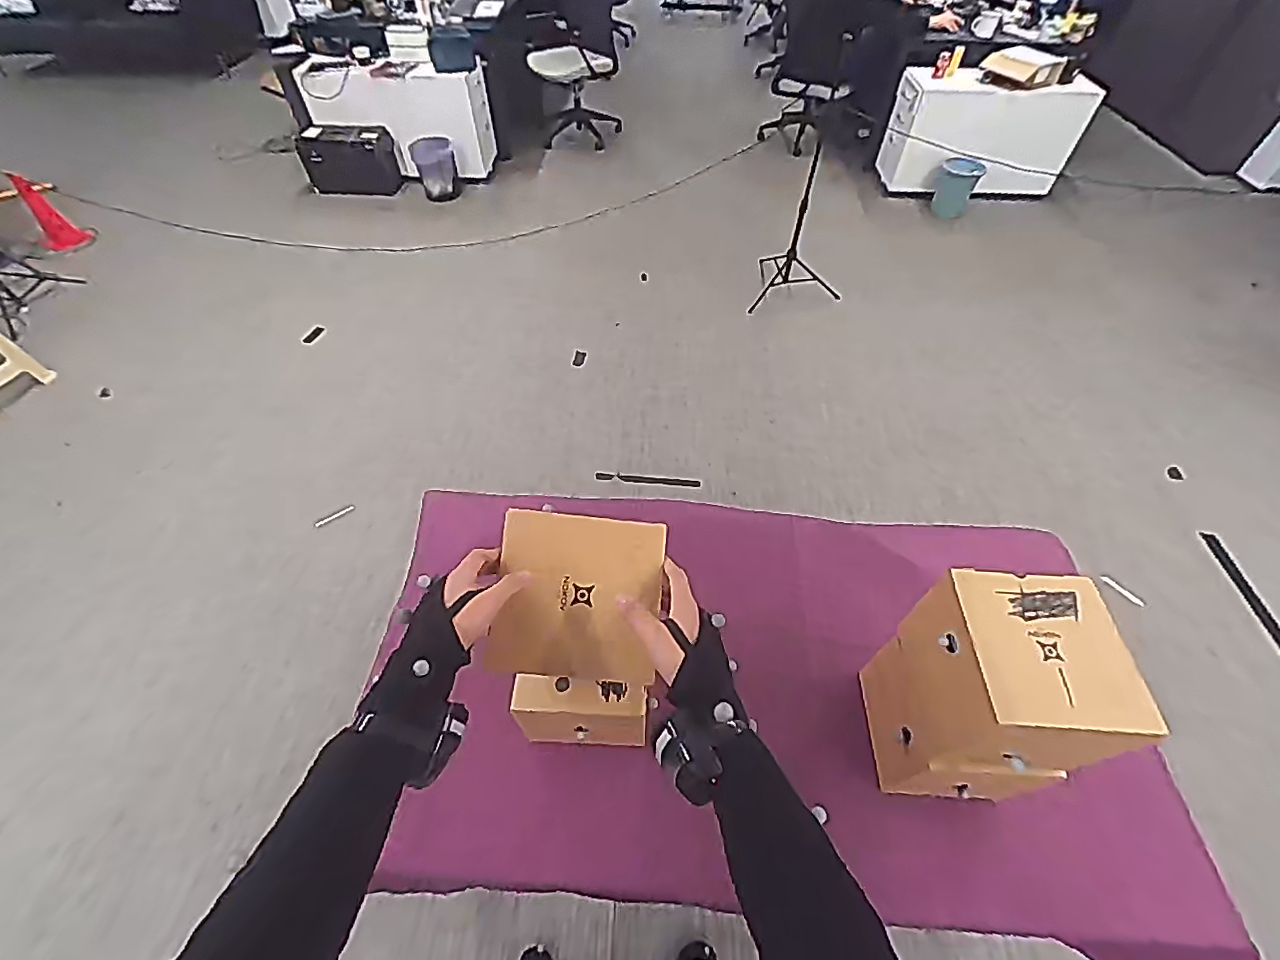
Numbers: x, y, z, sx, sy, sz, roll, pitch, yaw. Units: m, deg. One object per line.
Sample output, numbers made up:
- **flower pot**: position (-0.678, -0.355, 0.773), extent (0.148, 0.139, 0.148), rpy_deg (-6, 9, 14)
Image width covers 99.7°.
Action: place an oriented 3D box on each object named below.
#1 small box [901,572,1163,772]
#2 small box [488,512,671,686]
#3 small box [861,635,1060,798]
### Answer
- **small box**: position (0.438, 0.231, 0.647), extent (0.168, 0.176, 0.179), rpy_deg (3, 52, 3)
- **small box**: position (-0.063, 0.137, 0.639), extent (0.179, 0.176, 0.168), rpy_deg (5, 77, -1)
- **small box**: position (0.435, 0.340, 0.770), extent (0.168, 0.176, 0.179), rpy_deg (4, 52, 2)
